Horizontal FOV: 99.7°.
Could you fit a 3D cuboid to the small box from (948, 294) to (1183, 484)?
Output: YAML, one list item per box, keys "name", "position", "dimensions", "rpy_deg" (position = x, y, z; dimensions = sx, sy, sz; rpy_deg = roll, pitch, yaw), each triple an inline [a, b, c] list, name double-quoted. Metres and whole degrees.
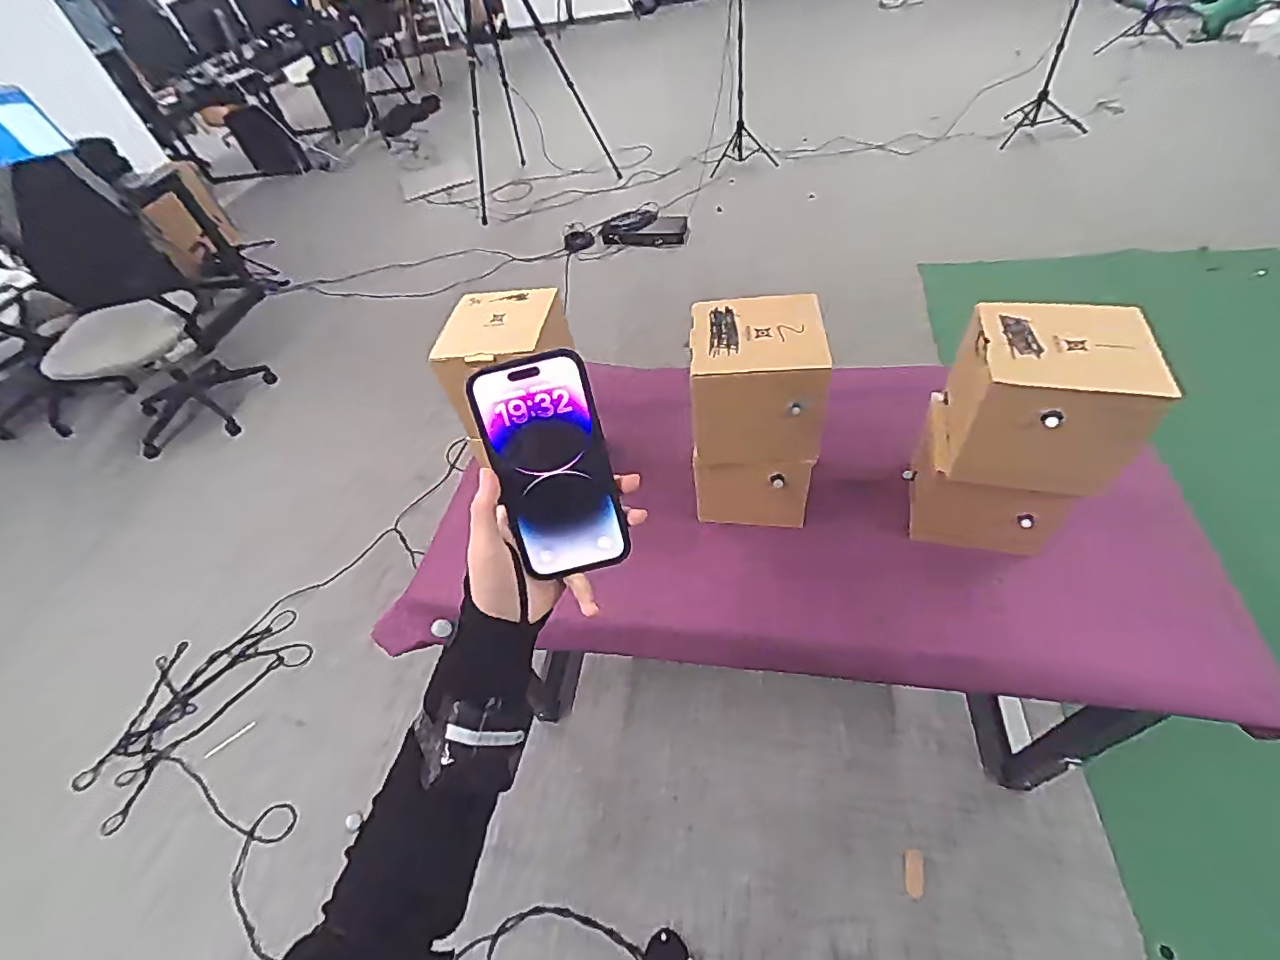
- name: "small box"
  position: [0.501, -0.112, 0.676]
  dimensions: [0.179, 0.176, 0.168]
  rpy_deg: [8, 51, 17]

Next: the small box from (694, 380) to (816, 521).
- name: "small box"
  position: [0.191, -0.047, 0.897]
  dimensions: [0.179, 0.176, 0.168]
  rpy_deg: [3, 50, 14]

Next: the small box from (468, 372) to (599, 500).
- name: "small box"
  position: [-0.184, -0.080, 1.002]
  dimensions: [0.168, 0.176, 0.179]
  rpy_deg: [3, 50, 14]

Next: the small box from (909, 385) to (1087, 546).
- name: "small box"
  position: [0.519, -0.019, 0.810]
  dimensions: [0.179, 0.176, 0.168]
  rpy_deg: [8, 51, 18]

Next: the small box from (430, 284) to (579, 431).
- name: "small box"
  position: [-0.207, -0.192, 0.883]
  dimensions: [0.168, 0.176, 0.179]
  rpy_deg: [0, 50, 10]
